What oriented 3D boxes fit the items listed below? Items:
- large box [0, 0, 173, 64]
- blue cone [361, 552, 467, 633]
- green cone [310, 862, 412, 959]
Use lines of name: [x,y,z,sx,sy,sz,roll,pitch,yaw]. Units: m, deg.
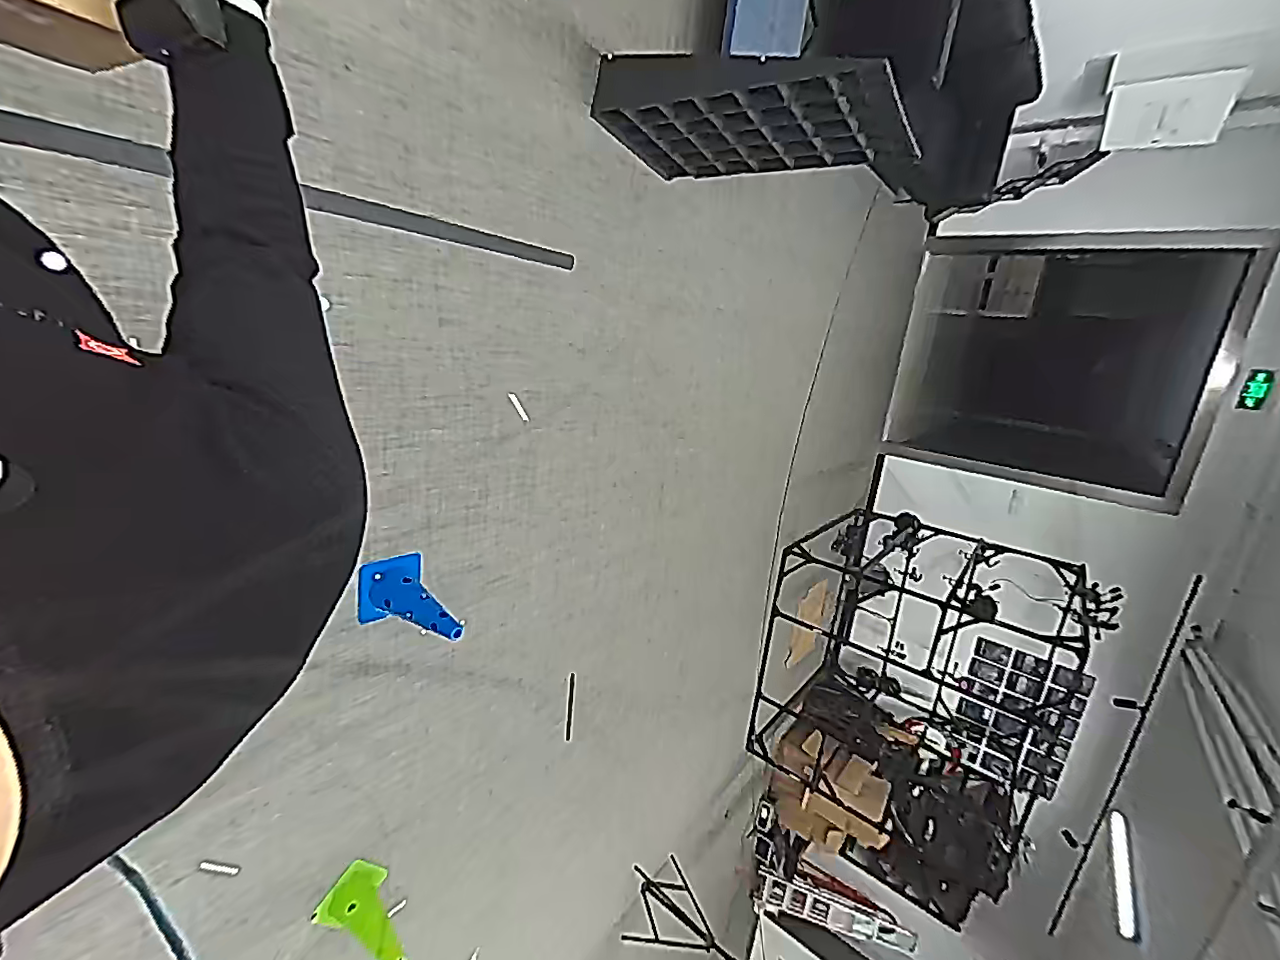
large box: [-0.541,-0.484,0.269,0.408,0.320,0.320,-10,120,-51]
blue cone: [-0.652,0.368,1.607,0.192,0.380,0.193,-8,111,-53]
green cone: [-0.859,1.470,1.761,0.202,0.368,0.200,-53,141,-29]
